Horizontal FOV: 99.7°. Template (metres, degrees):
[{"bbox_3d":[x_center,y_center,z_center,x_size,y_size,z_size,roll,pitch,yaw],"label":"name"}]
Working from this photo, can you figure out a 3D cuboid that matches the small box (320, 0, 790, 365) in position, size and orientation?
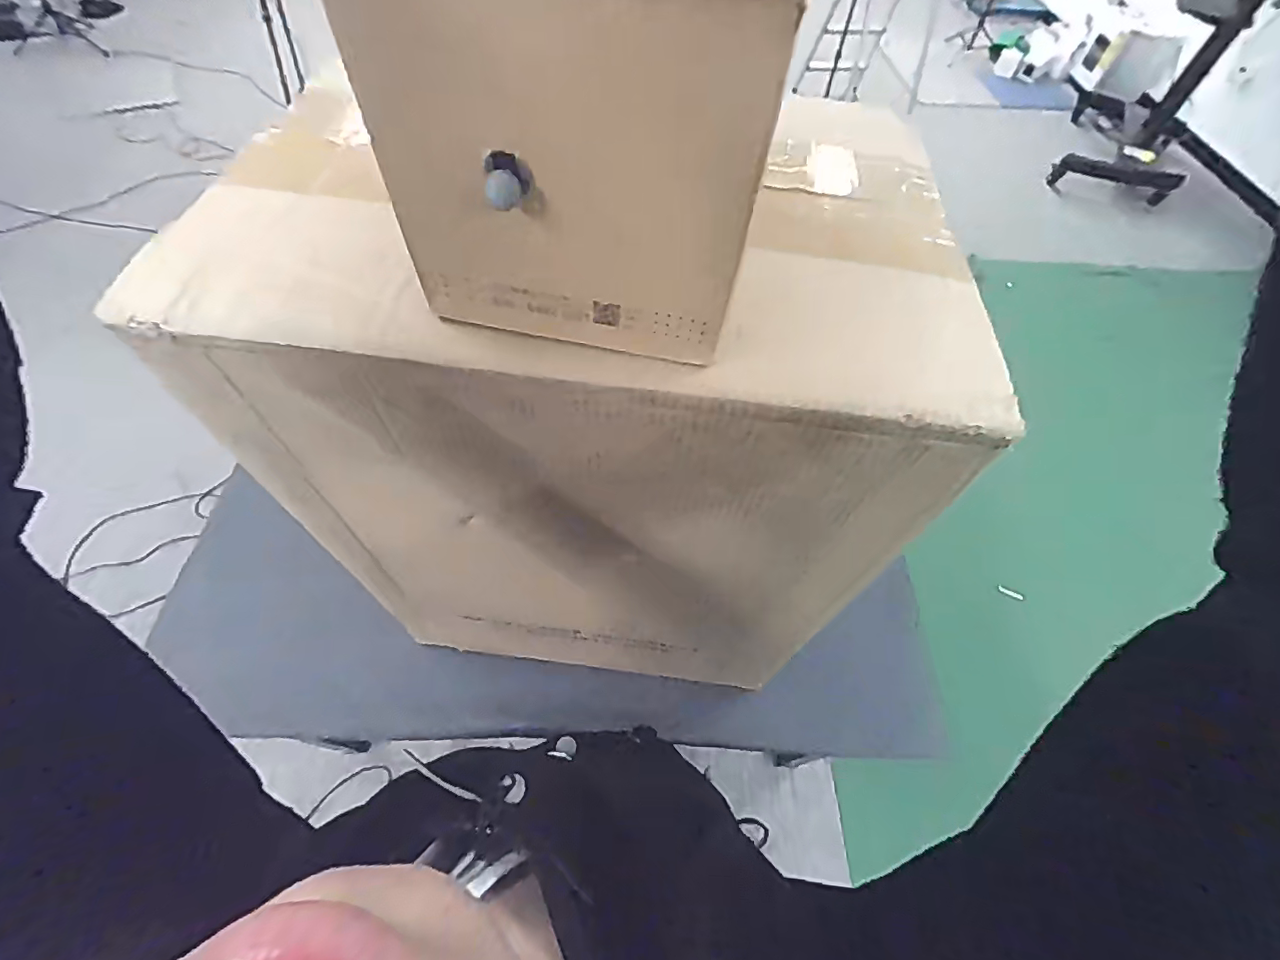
[{"bbox_3d":[-0.020,-0.187,0.288,0.168,0.176,0.179,11,58,2],"label":"small box"}]
